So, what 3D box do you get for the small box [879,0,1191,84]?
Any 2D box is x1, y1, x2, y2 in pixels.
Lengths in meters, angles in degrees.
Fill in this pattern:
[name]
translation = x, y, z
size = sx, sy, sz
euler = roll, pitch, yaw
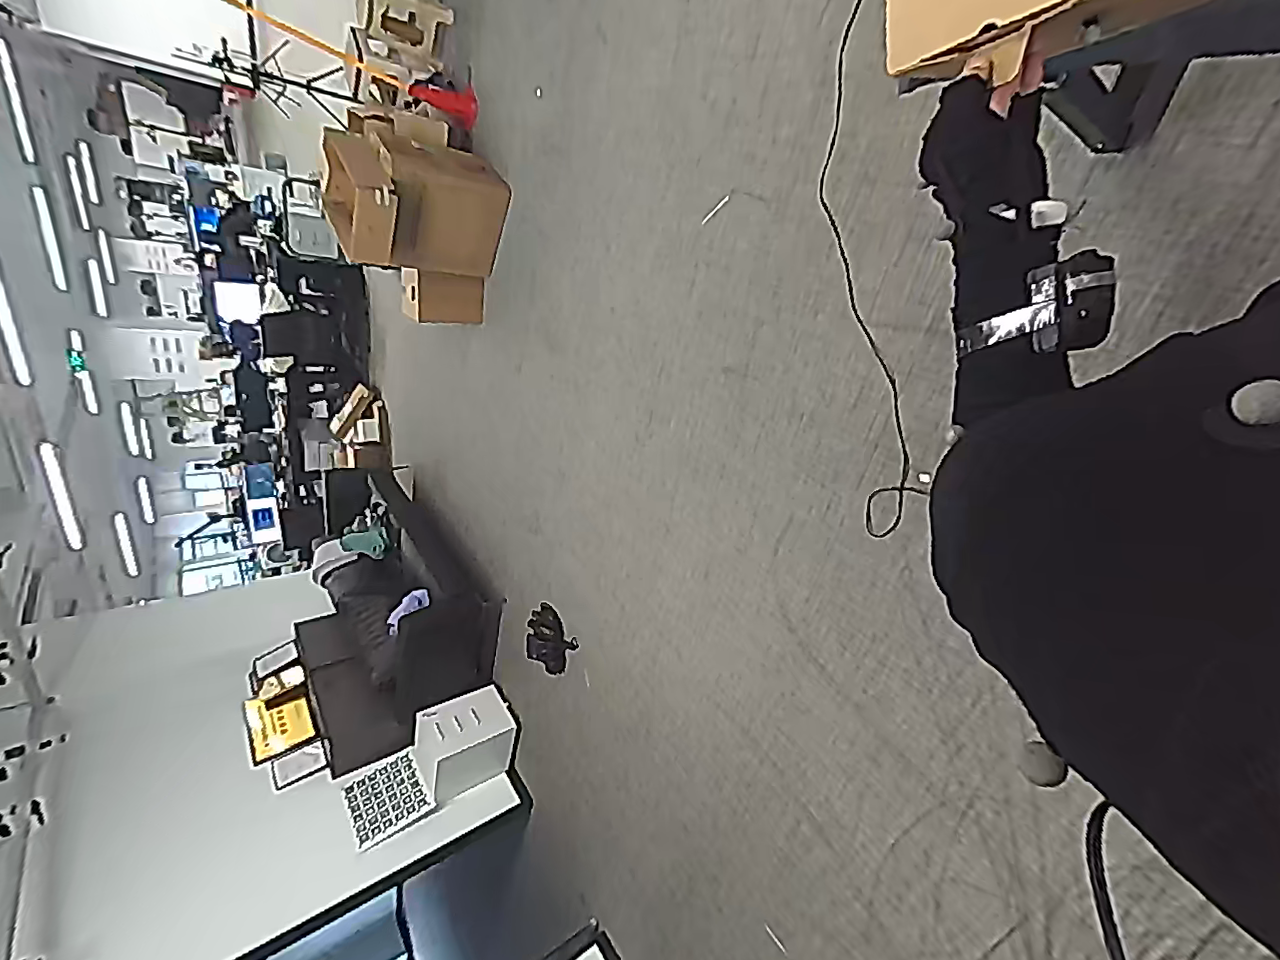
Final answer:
[small box]
translation = 0.302, -0.427, 0.403
size = 0.168, 0.176, 0.179
euler = 21, 127, 54
